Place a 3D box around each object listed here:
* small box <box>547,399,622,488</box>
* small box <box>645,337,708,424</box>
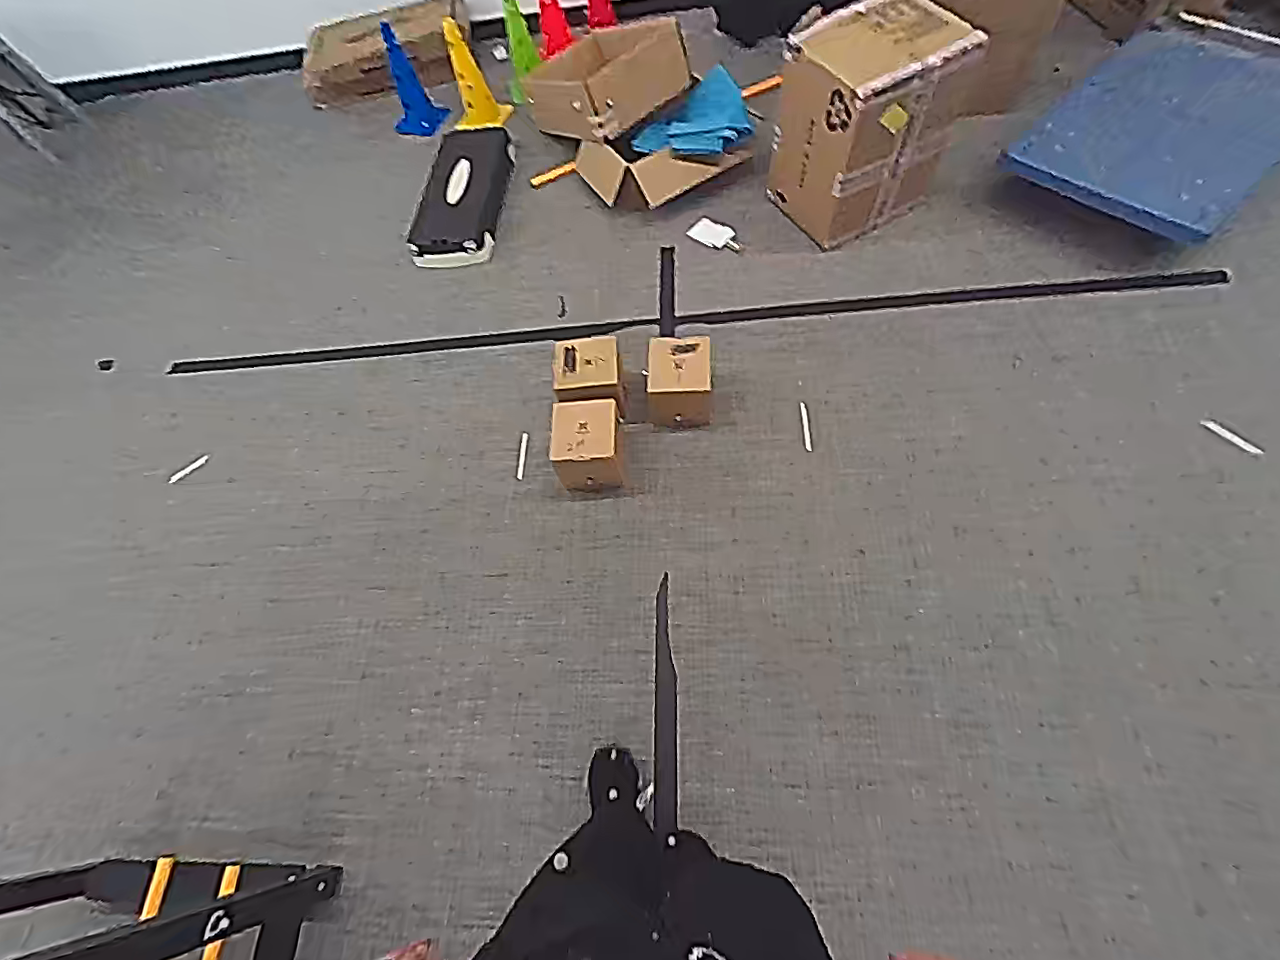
[{"bbox_3d":[-0.141,-0.095,1.442,0.168,0.176,0.179,-4,64,6],"label":"small box"},{"bbox_3d":[0.105,-0.273,1.499,0.168,0.176,0.179,-1,65,7],"label":"small box"}]
